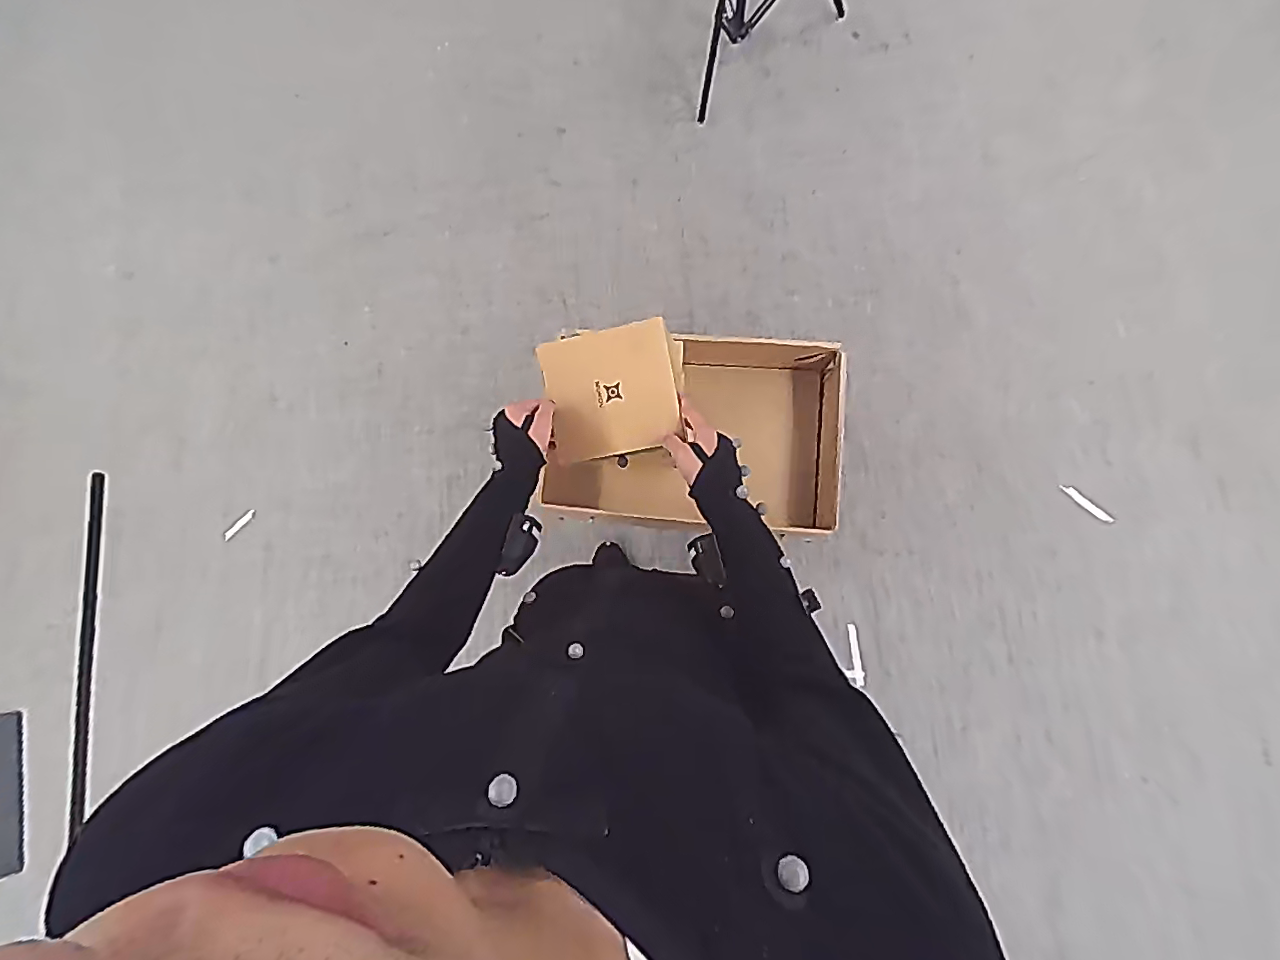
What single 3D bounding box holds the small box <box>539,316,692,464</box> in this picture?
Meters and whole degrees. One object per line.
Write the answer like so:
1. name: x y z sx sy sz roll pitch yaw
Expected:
1. small box: -0.024 -0.123 0.783 0.179 0.176 0.168 -11 92 11
